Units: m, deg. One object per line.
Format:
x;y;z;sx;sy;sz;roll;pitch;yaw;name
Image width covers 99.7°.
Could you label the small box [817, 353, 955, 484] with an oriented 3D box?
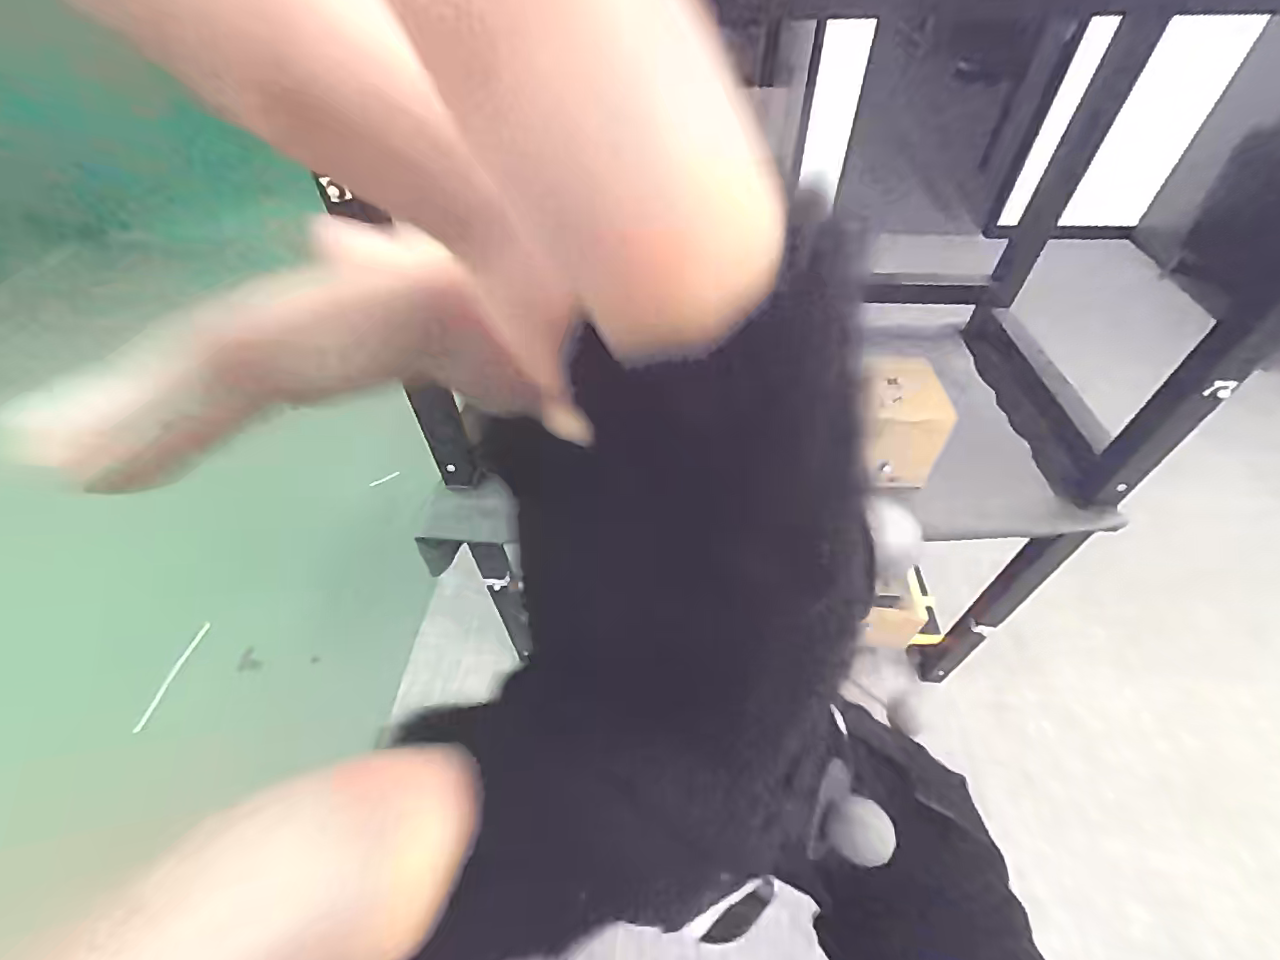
0.437;-0.114;0.996;0.168;0.176;0.179;1;47;3;small box
